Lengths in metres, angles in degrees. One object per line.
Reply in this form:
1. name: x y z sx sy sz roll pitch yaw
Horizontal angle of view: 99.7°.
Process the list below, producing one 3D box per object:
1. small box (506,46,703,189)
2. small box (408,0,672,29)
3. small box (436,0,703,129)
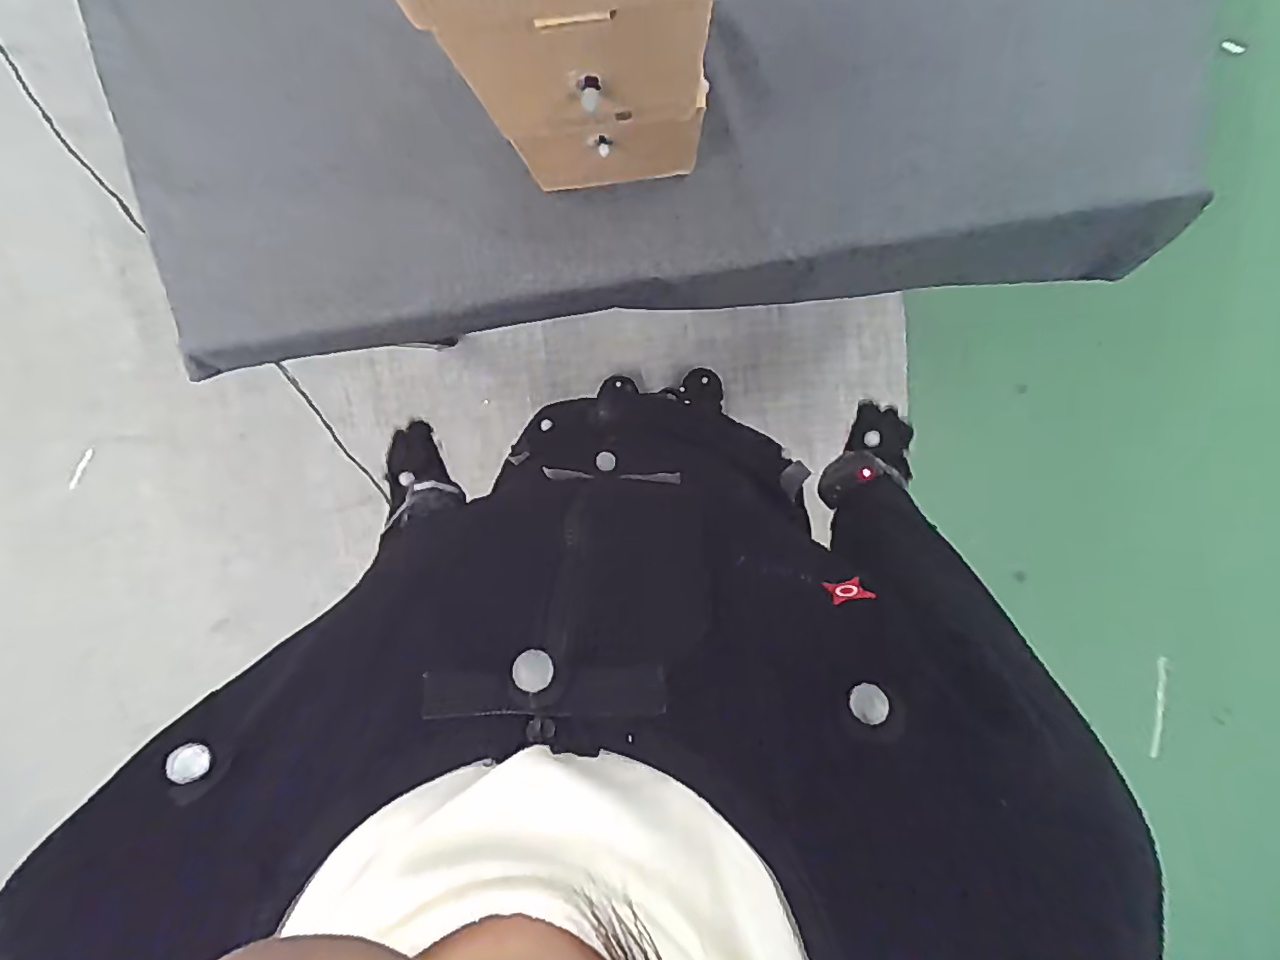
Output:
1. small box: -0.036 -0.408 0.536 0.179 0.176 0.168 -6 102 2
2. small box: -0.050 -0.328 0.218 0.179 0.176 0.168 -4 102 4
3. small box: -0.045 -0.372 0.377 0.168 0.176 0.179 -5 102 3
